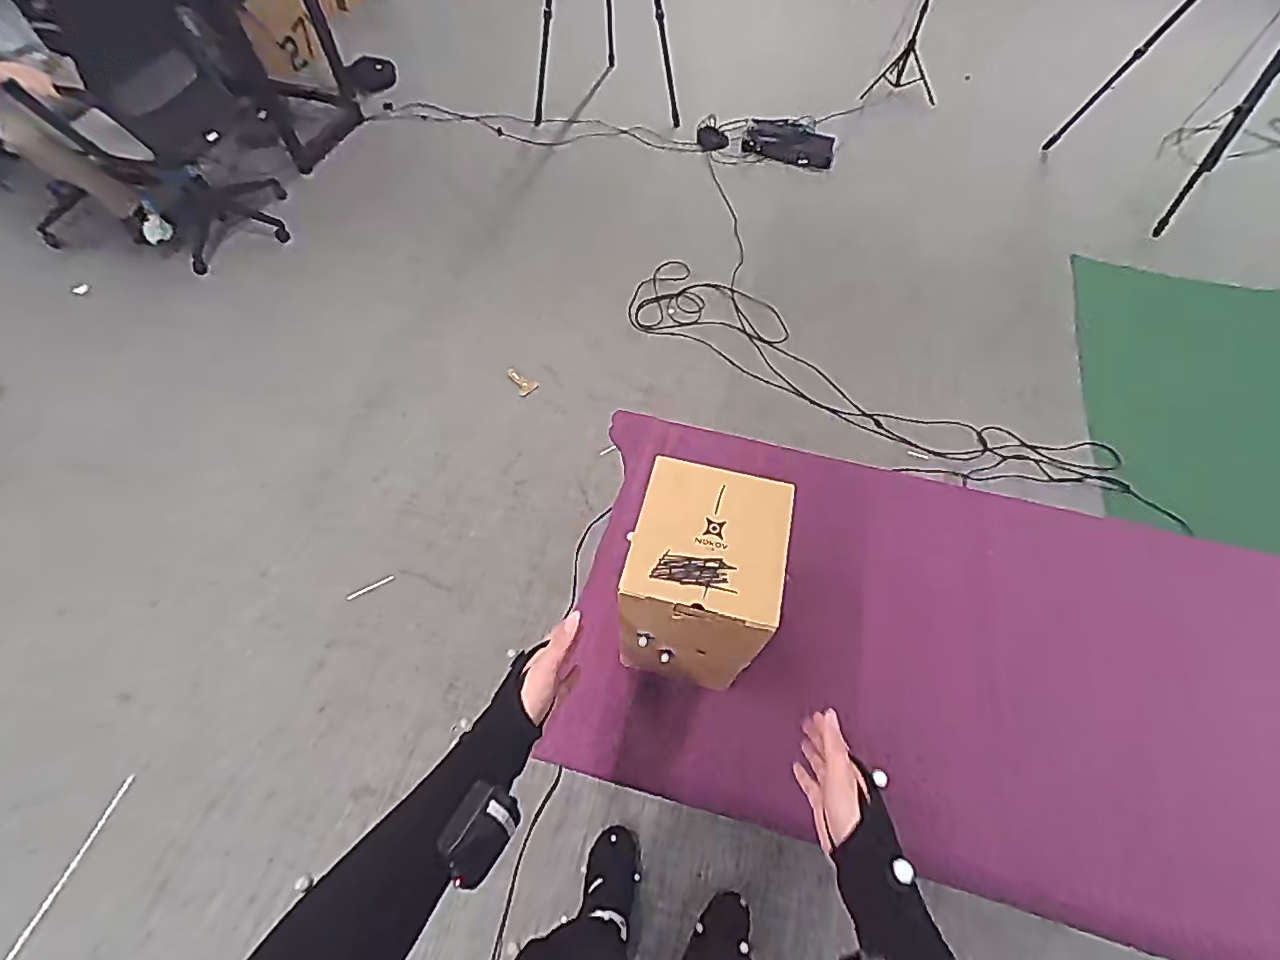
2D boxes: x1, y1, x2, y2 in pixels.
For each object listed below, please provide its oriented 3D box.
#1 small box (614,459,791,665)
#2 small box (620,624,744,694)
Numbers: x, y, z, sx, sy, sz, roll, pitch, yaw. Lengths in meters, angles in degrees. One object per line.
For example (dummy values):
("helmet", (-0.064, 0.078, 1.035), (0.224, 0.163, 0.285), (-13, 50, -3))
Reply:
("small box", (0.073, 0.105, 0.652), (0.168, 0.176, 0.179), (12, 58, 7))
("small box", (0.070, 0.192, 0.793), (0.168, 0.176, 0.179), (12, 59, 7))
